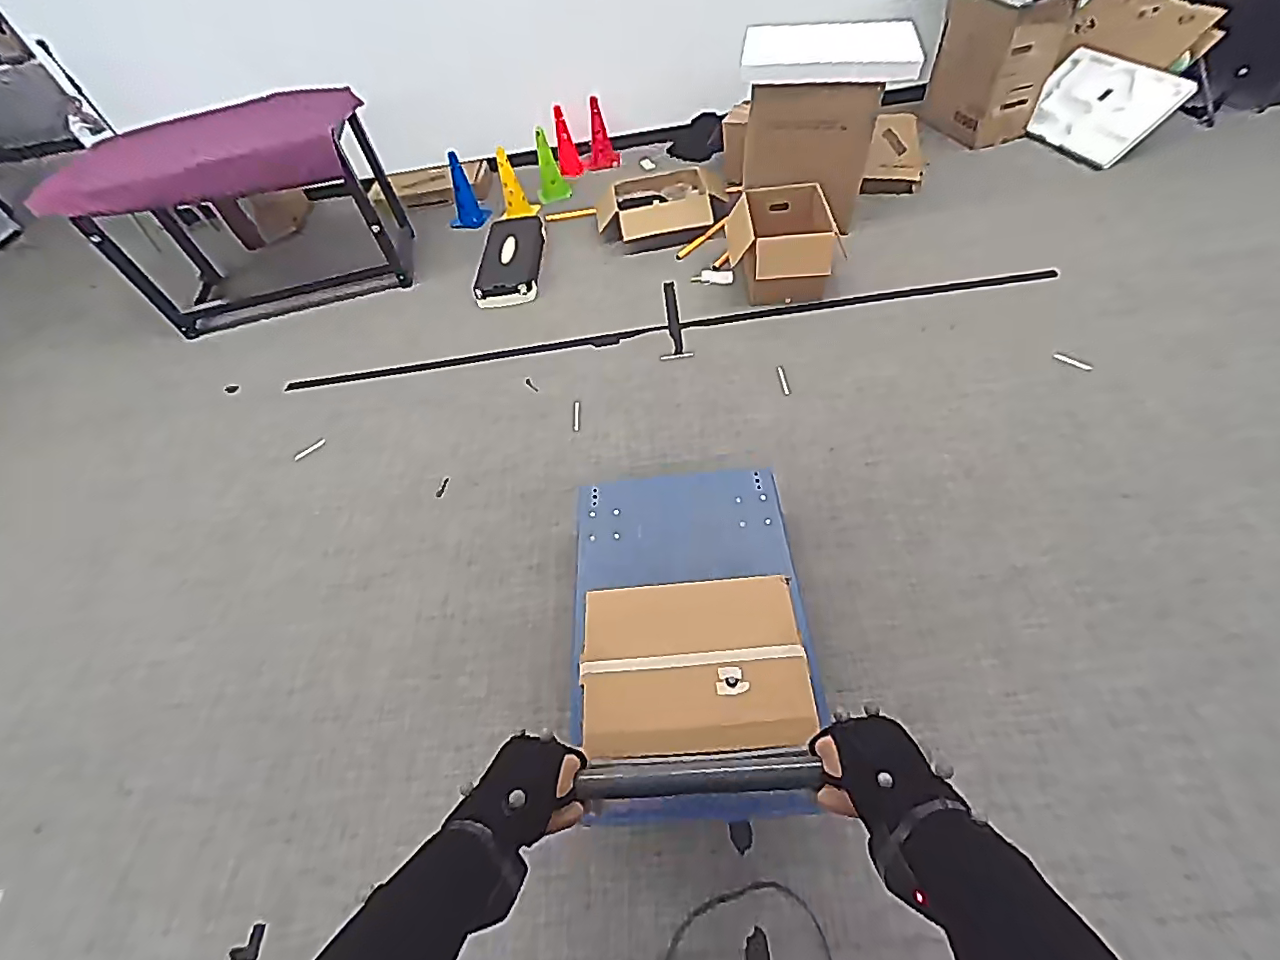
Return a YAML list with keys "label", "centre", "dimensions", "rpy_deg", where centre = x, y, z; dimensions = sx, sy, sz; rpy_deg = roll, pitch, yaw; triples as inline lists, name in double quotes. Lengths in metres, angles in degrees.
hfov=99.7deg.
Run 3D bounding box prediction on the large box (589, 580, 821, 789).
- label: "large box"
  centre: [0.115, 0.433, 1.128]
  dimensions: [0.408, 0.320, 0.320]
  rpy_deg: [-6, 53, 3]
